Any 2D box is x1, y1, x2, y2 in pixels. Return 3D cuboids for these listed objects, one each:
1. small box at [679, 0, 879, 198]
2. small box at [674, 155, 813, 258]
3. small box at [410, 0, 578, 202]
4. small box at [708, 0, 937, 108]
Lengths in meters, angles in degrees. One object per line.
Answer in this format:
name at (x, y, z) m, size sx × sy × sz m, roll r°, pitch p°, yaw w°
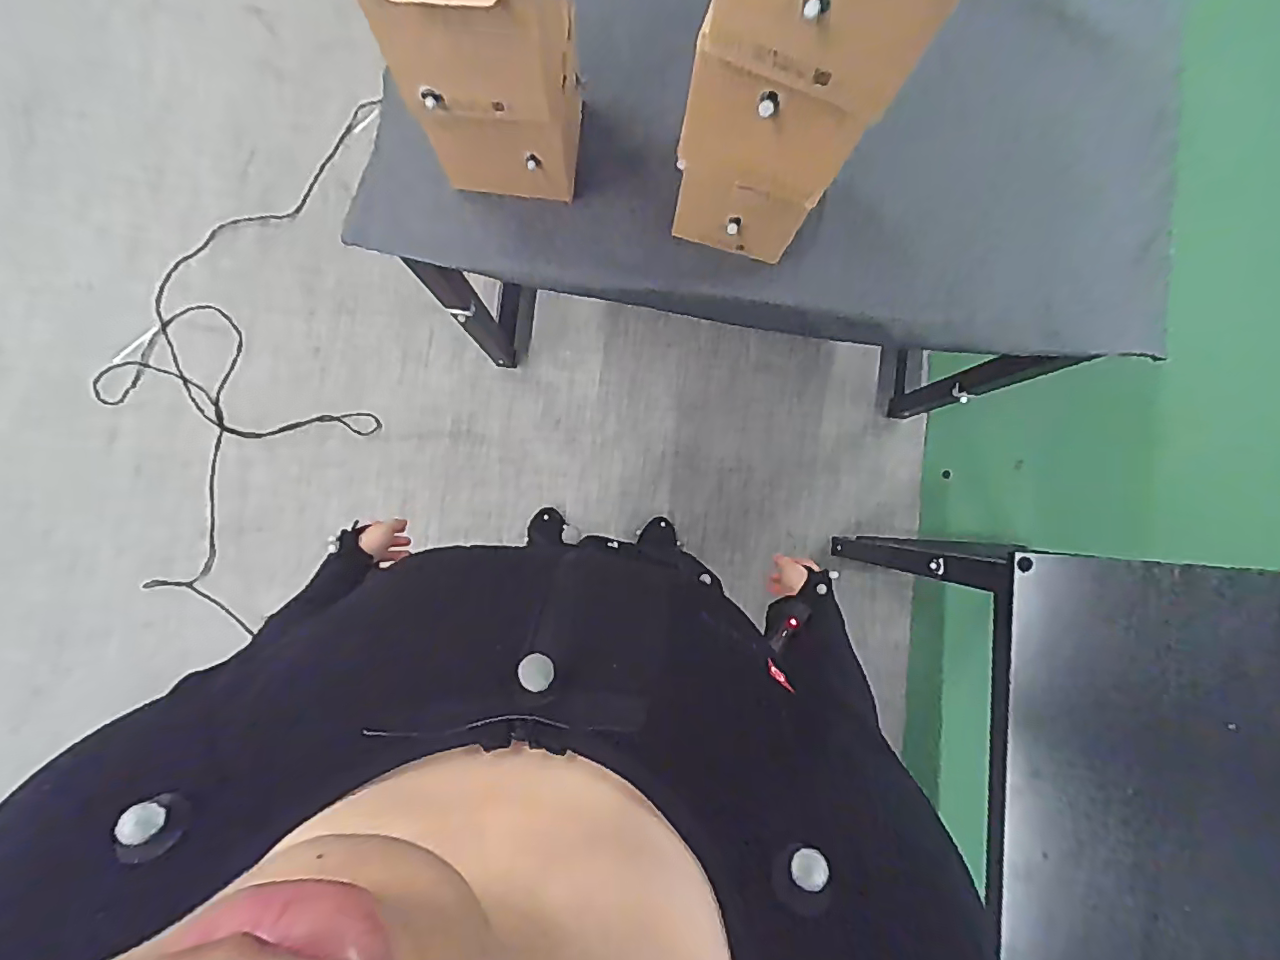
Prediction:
small box at (0.153, -0.430, 0.562) m, size 0.179 × 0.176 × 0.168 m, roll 20°, pitch 86°, yaw 0°
small box at (0.146, -0.429, 0.725) m, size 0.168 × 0.176 × 0.179 m, roll 15°, pitch 86°, yaw 0°
small box at (-0.180, -0.499, 0.721) m, size 0.179 × 0.176 × 0.168 m, roll 4°, pitch 85°, yaw -1°
small box at (0.157, -0.428, 0.396) m, size 0.168 × 0.176 × 0.179 m, roll 21°, pitch 86°, yaw 0°
